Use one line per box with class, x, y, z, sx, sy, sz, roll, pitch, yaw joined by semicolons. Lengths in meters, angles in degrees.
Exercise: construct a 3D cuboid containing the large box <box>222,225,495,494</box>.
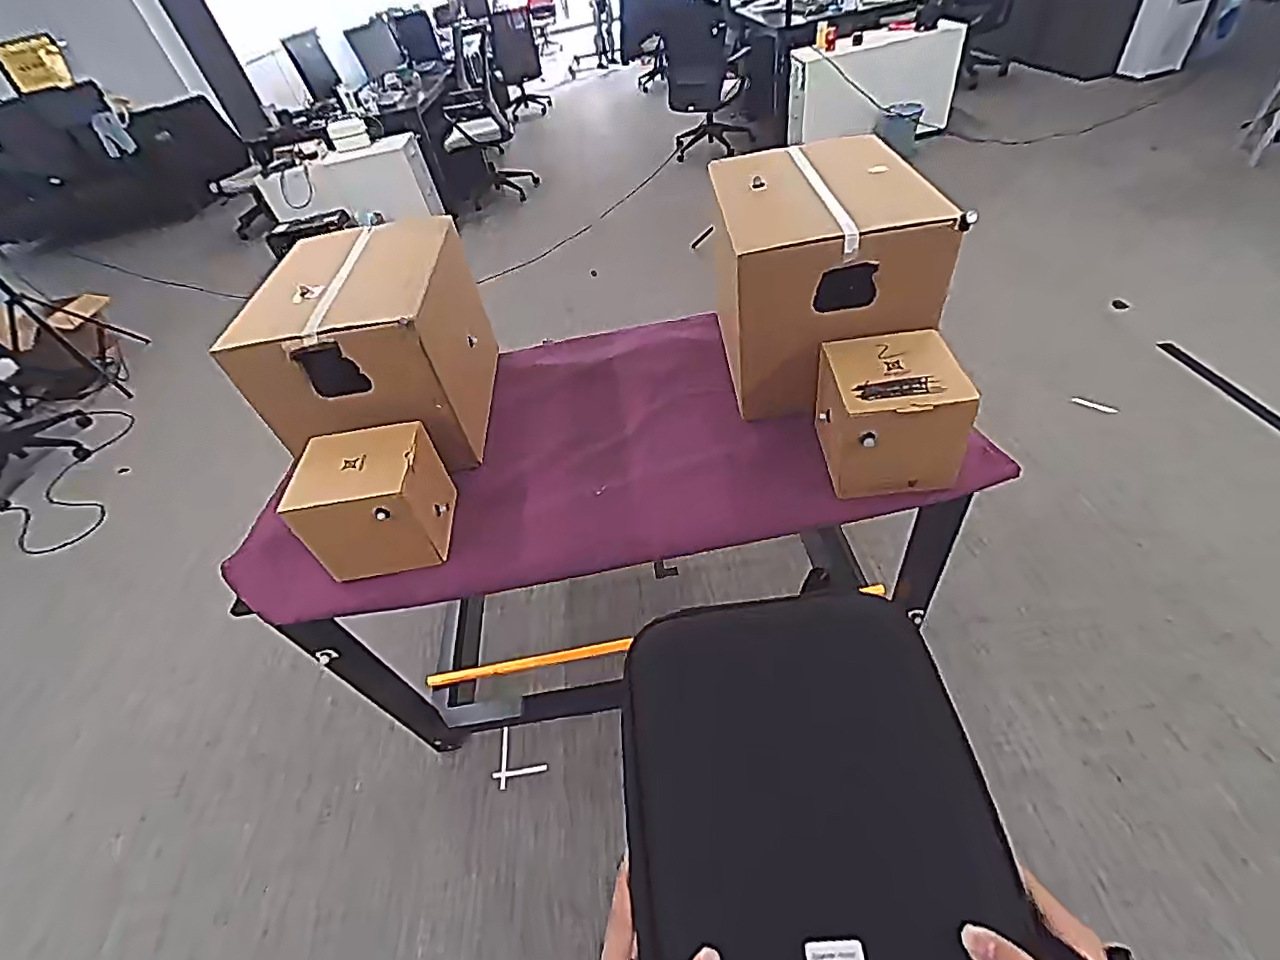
large box;-0.484;-0.237;1.046;0.320;0.320;0.408;-10;48;1
